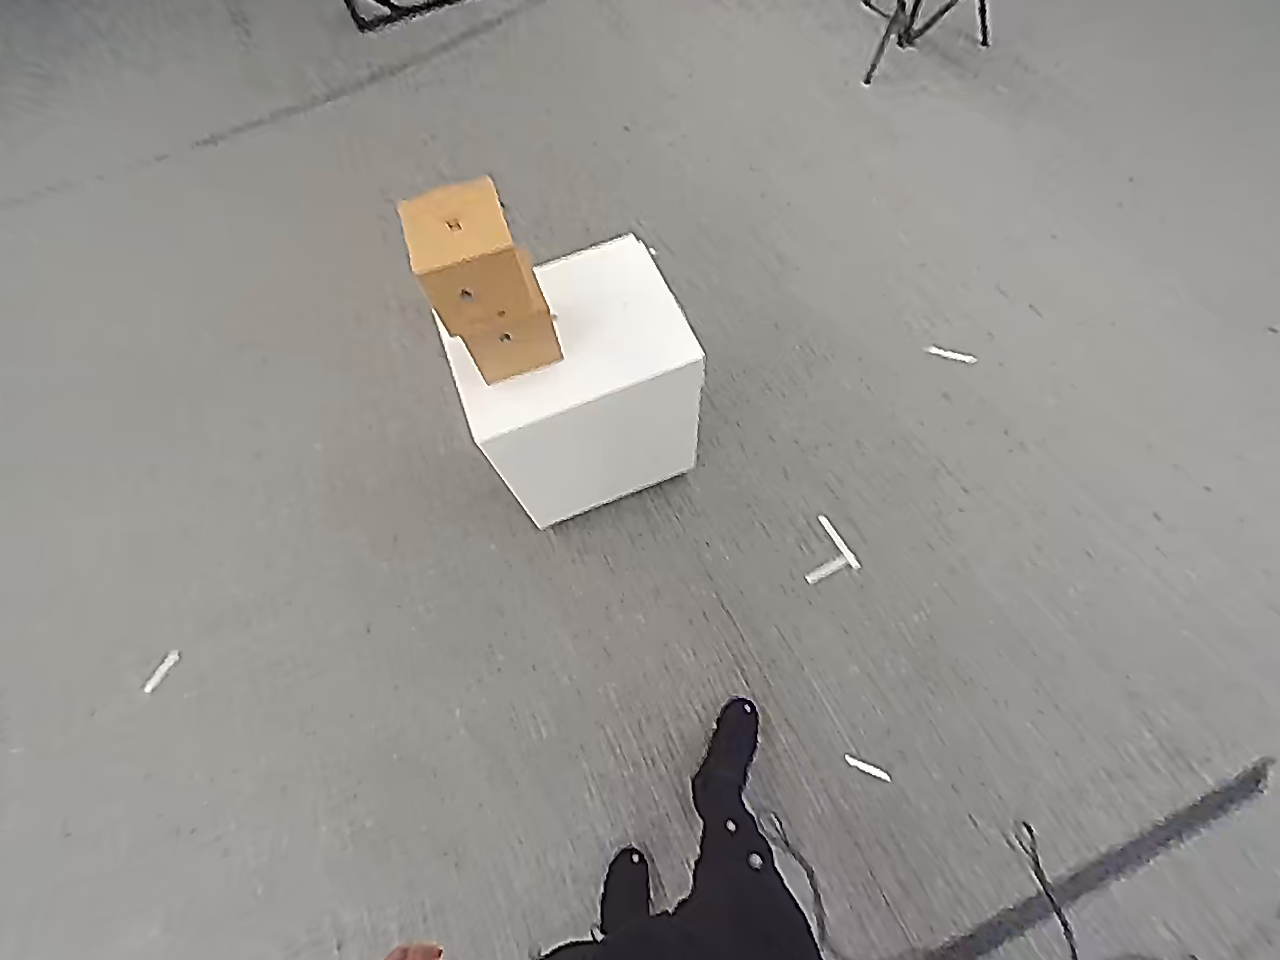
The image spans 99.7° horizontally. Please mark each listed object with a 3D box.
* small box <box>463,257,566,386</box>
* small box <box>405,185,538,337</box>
[{"bbox_3d":[-0.269,-0.322,1.123,0.179,0.176,0.168,-20,66,-6],"label":"small box"},{"bbox_3d":[-0.295,-0.381,0.973,0.168,0.176,0.179,-19,66,-5],"label":"small box"}]
